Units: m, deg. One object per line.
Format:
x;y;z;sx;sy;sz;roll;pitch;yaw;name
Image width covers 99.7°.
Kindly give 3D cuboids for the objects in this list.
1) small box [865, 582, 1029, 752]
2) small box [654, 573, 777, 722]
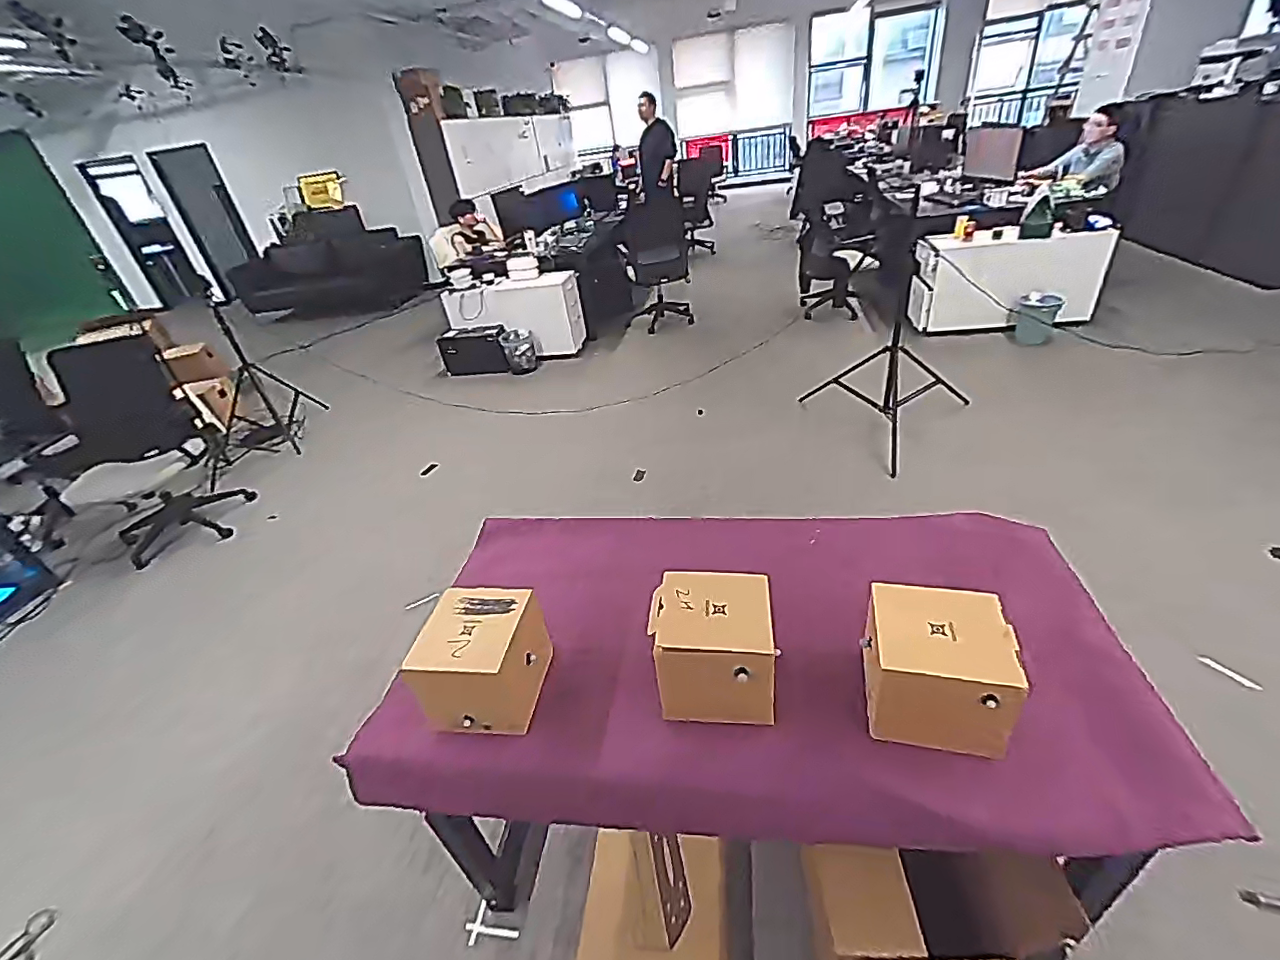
0.435;0.274;0.803;0.179;0.176;0.168;2;35;16;small box
0.126;0.271;0.880;0.179;0.176;0.168;-2;31;10;small box
